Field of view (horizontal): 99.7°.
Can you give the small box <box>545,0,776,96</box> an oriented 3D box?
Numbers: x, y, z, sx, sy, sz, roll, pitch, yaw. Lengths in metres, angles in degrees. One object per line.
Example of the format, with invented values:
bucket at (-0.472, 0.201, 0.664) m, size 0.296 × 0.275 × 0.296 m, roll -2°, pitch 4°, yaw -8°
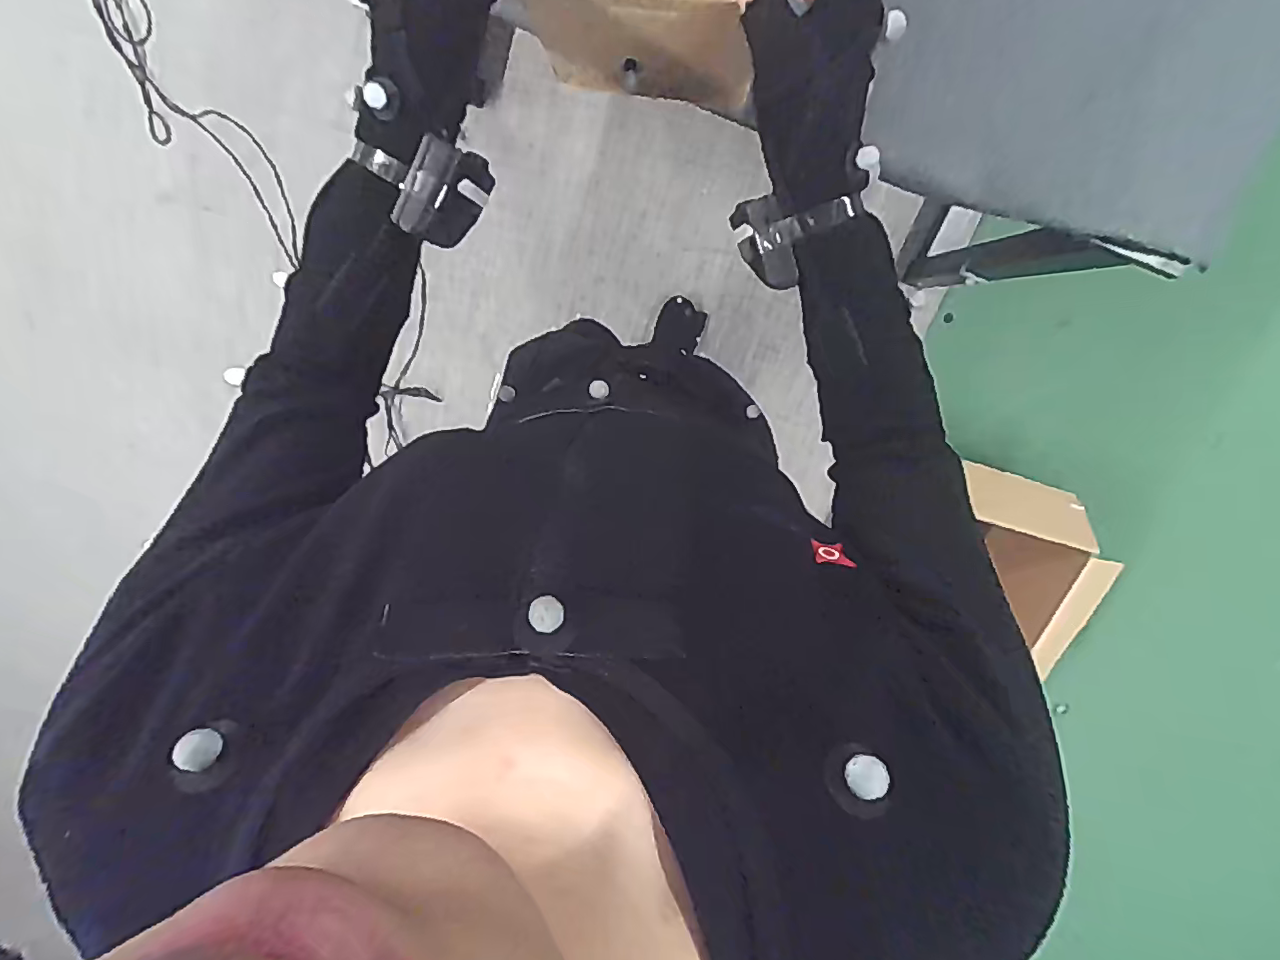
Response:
small box at (0.017, -0.411, 0.382) m, size 0.168 × 0.176 × 0.179 m, roll 7°, pitch 108°, yaw 1°
